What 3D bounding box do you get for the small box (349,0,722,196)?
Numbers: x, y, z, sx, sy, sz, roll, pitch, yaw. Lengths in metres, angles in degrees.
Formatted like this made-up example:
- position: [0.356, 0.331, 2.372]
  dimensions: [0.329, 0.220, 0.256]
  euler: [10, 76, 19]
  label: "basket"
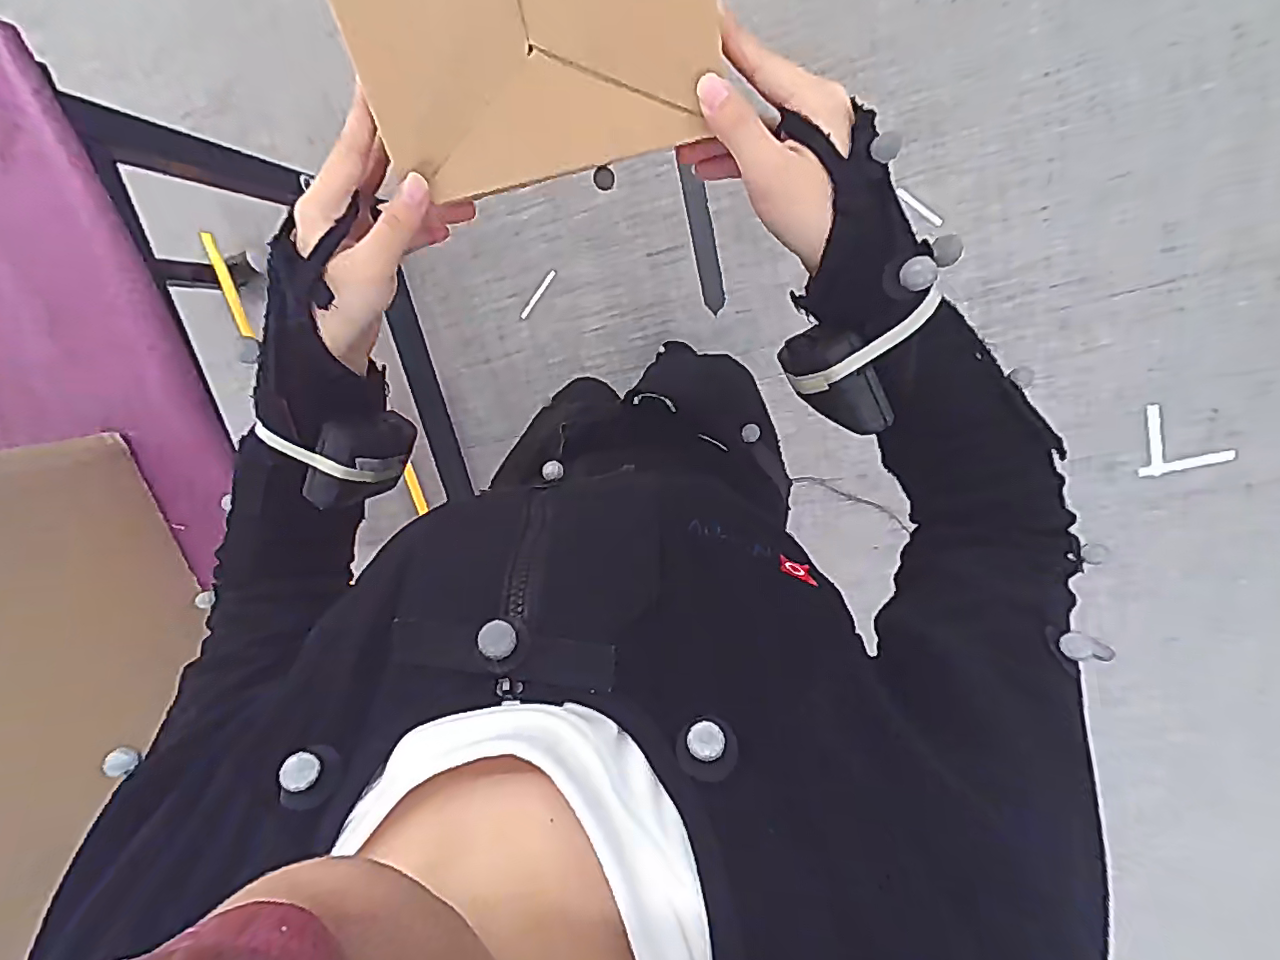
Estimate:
- position: [-0.054, -0.272, 0.313]
  dimensions: [0.179, 0.176, 0.168]
  euler: [-8, 121, 9]
  label: "small box"
